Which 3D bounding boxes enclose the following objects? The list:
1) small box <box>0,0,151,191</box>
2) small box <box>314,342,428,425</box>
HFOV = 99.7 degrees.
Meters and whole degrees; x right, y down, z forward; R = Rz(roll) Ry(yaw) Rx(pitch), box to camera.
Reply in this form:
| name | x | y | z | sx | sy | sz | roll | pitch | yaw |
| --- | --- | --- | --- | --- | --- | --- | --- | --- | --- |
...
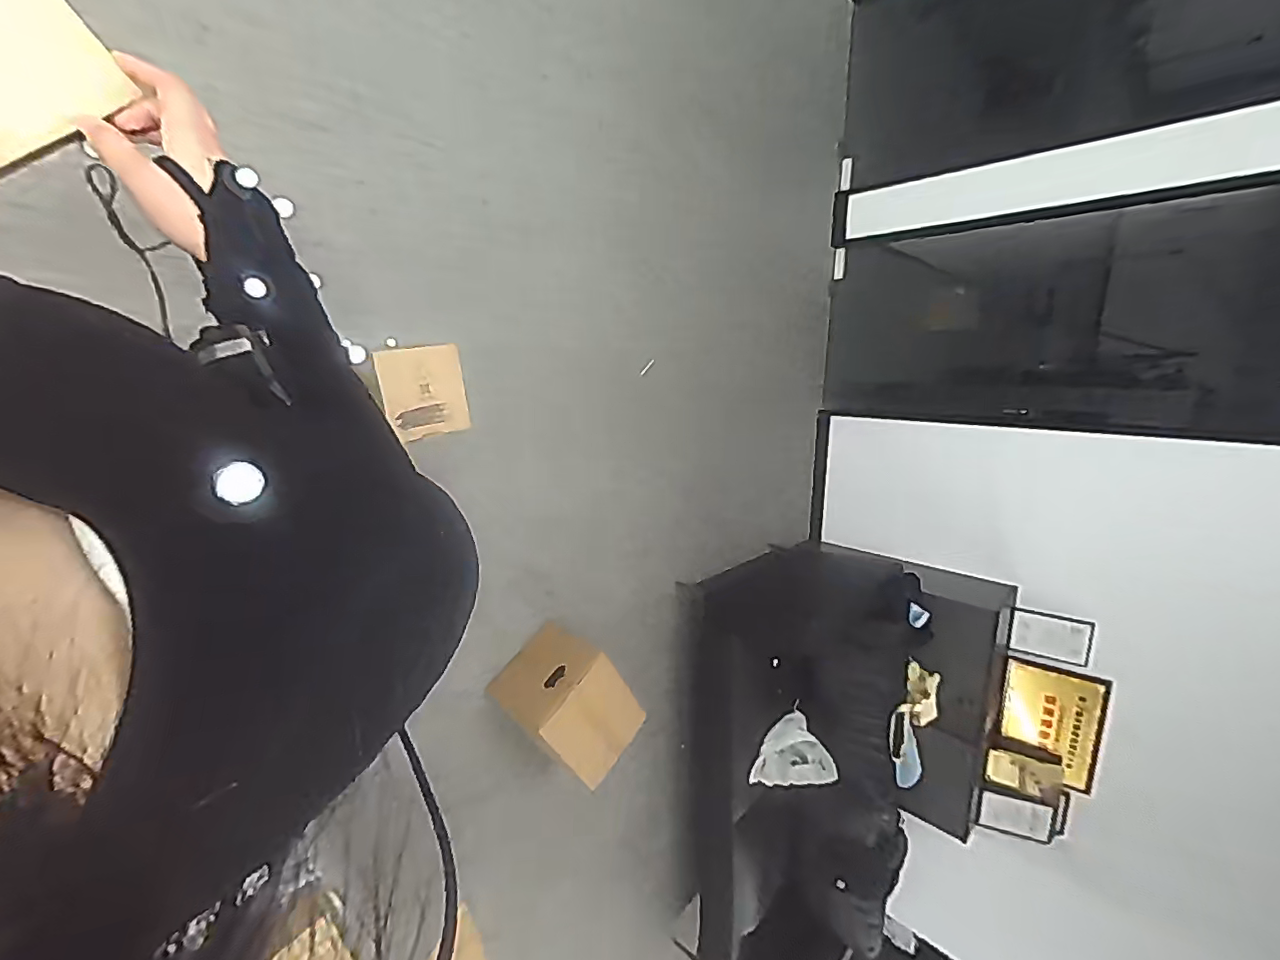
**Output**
| name | x | y | z | sx | sy | sz | roll | pitch | yaw |
| --- | --- | --- | --- | --- | --- | --- | --- | --- | --- |
| small box | -0.480 | -0.278 | 0.343 | 0.179 | 0.176 | 0.168 | -49 | 139 | -20 |
| small box | -0.605 | -0.221 | 1.209 | 0.179 | 0.176 | 0.168 | -18 | 113 | -44 |
